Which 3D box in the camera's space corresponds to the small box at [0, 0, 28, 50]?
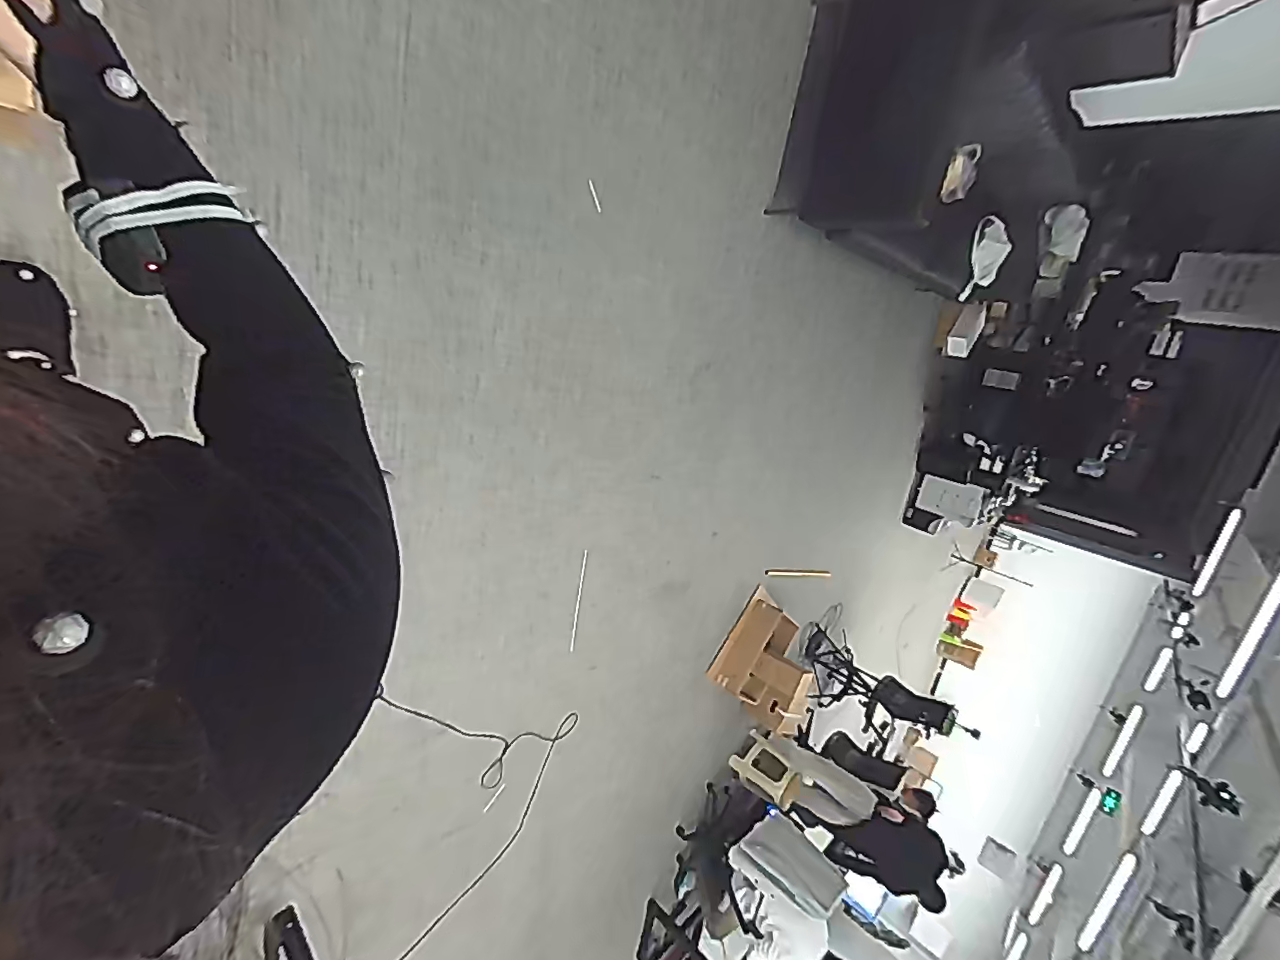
[{"bbox_3d":[-0.520,-0.419,0.338,0.168,0.176,0.179,-6,108,-45],"label":"small box"}]
